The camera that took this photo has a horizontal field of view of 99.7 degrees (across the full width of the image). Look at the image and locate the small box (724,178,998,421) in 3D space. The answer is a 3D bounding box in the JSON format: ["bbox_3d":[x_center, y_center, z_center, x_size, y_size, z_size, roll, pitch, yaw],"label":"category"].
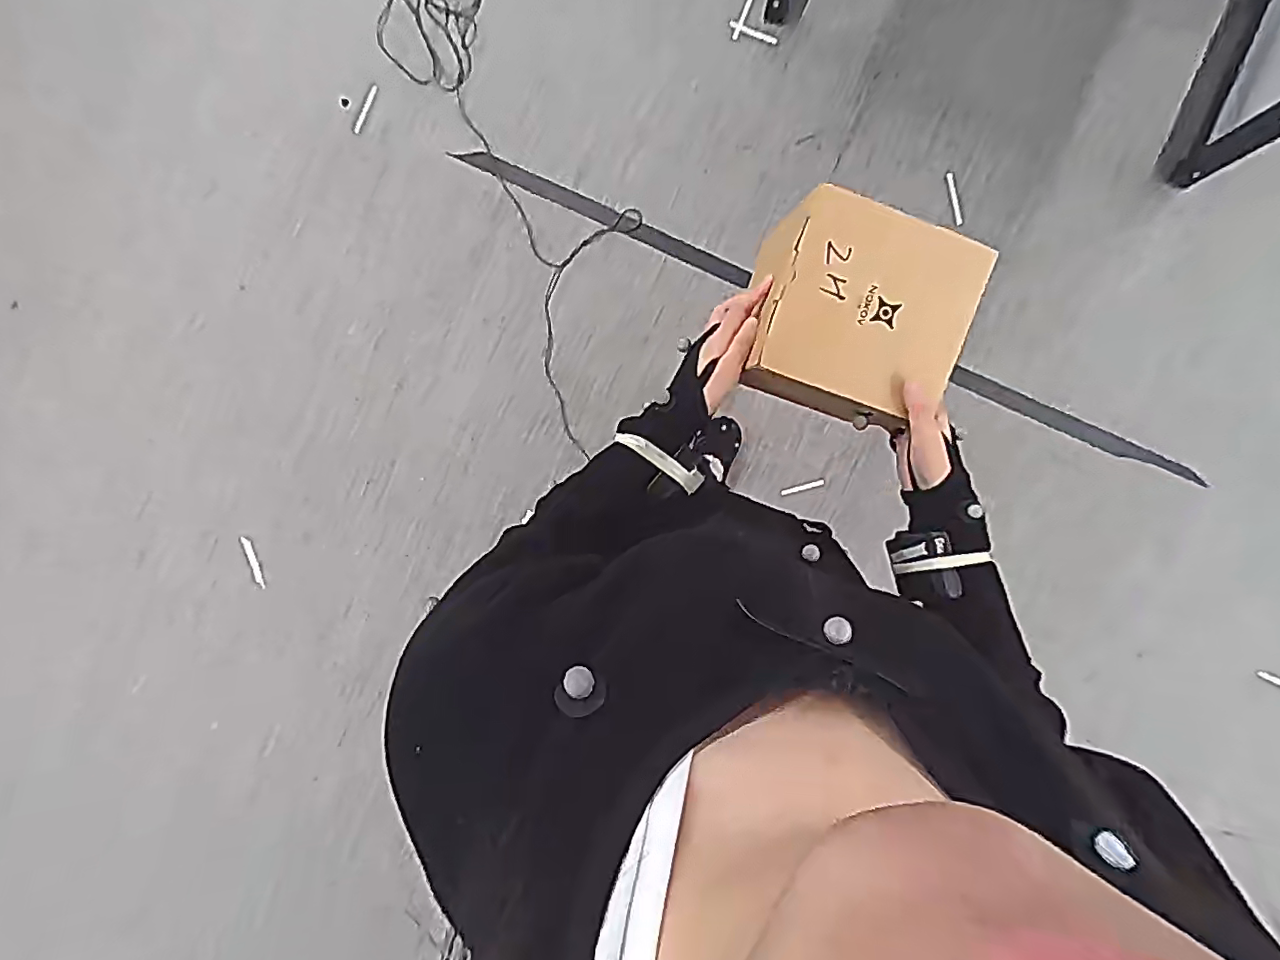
[{"bbox_3d":[0.206,-0.169,0.558,0.179,0.176,0.168,19,96,-5],"label":"small box"}]
